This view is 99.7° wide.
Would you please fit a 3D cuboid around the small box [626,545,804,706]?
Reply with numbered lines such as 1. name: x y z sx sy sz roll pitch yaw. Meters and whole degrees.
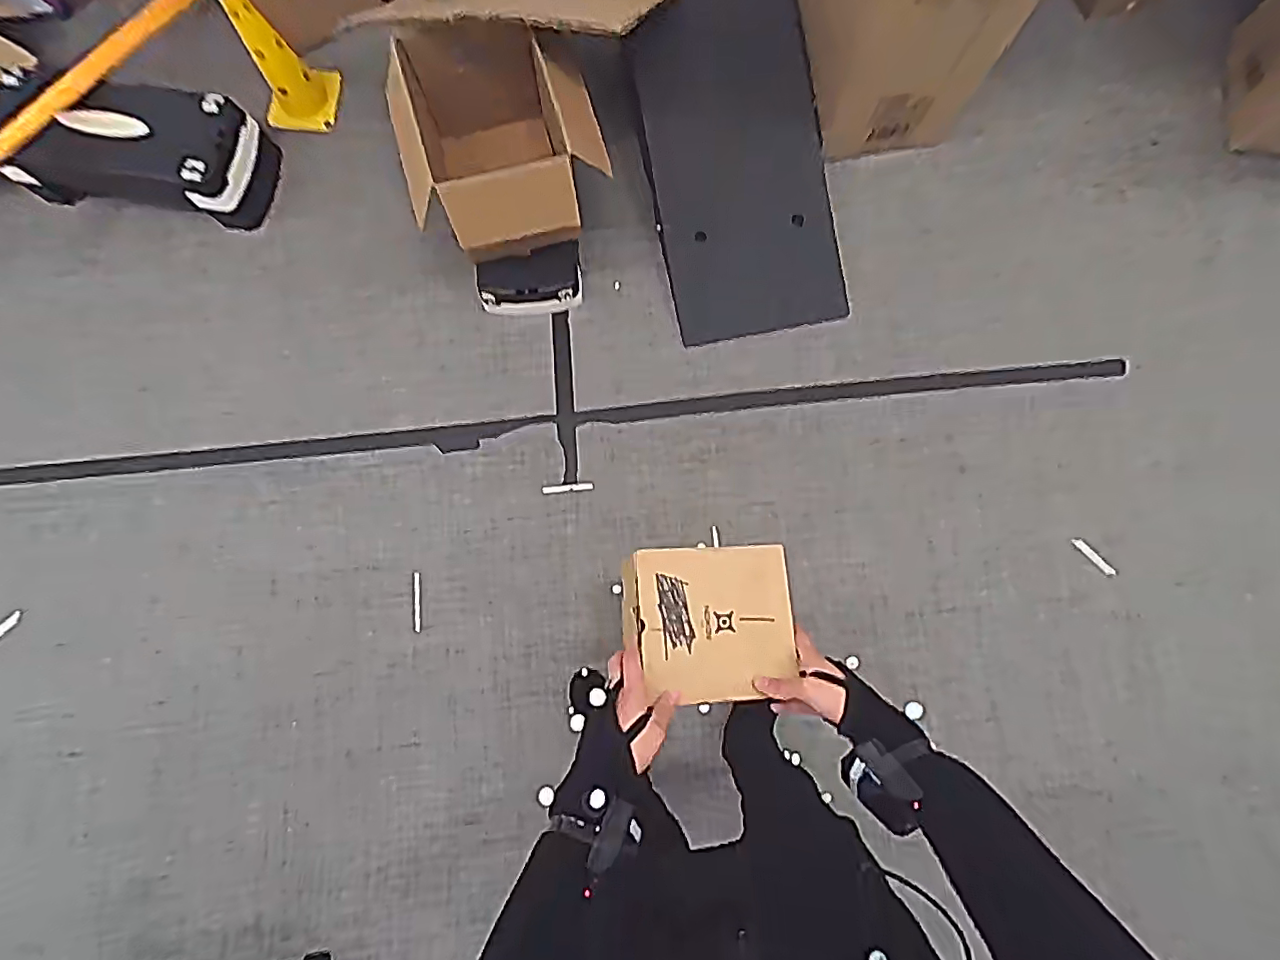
1. small box: 0.075 0.175 0.659 0.179 0.176 0.168 -1 75 -8
